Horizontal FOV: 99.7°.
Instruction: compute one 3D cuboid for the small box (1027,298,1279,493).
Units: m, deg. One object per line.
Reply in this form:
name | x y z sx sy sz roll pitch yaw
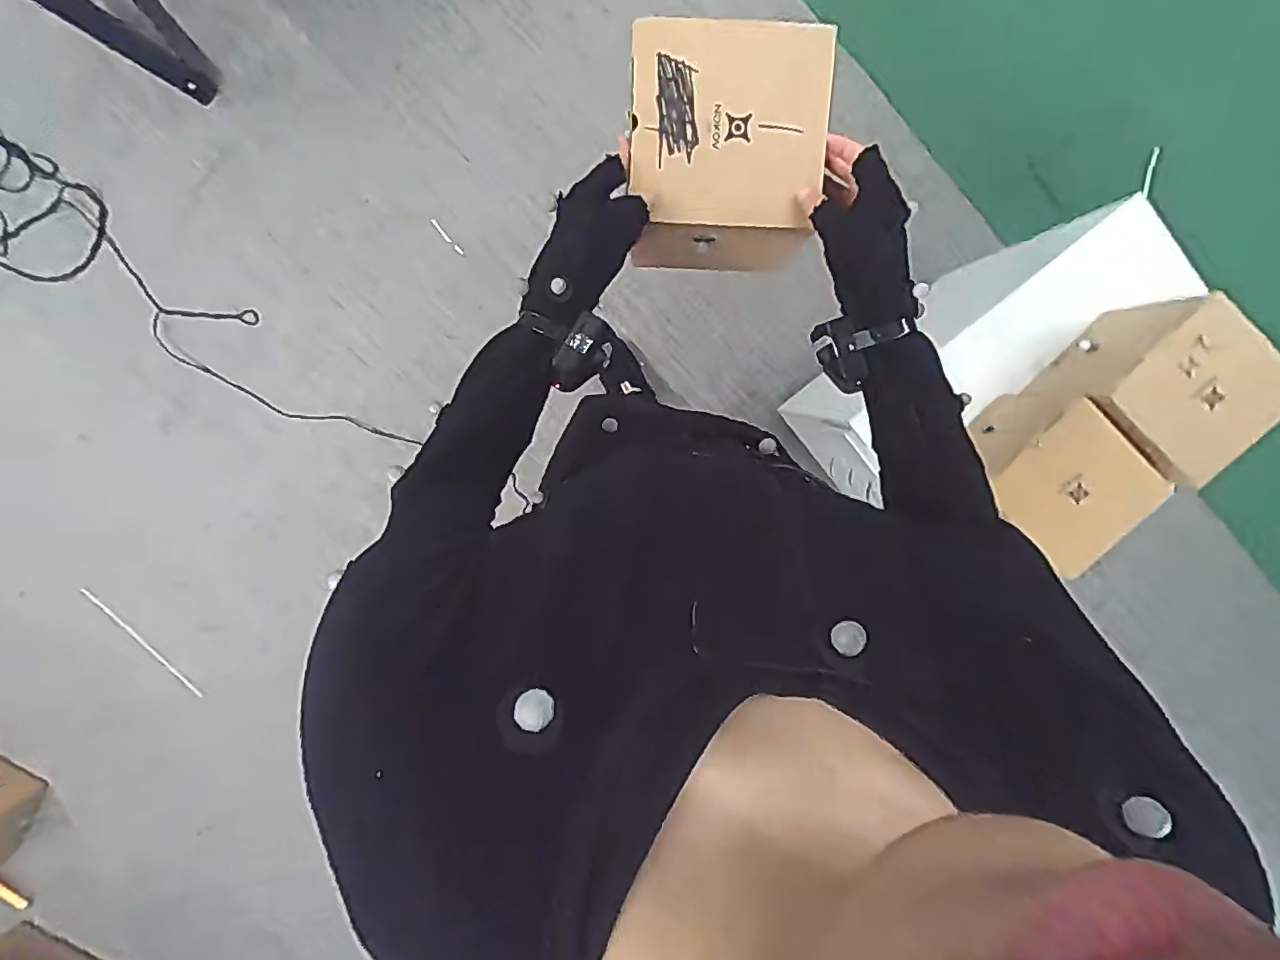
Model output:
small box | 0.684 -0.112 0.721 0.179 0.176 0.168 43 99 -4
